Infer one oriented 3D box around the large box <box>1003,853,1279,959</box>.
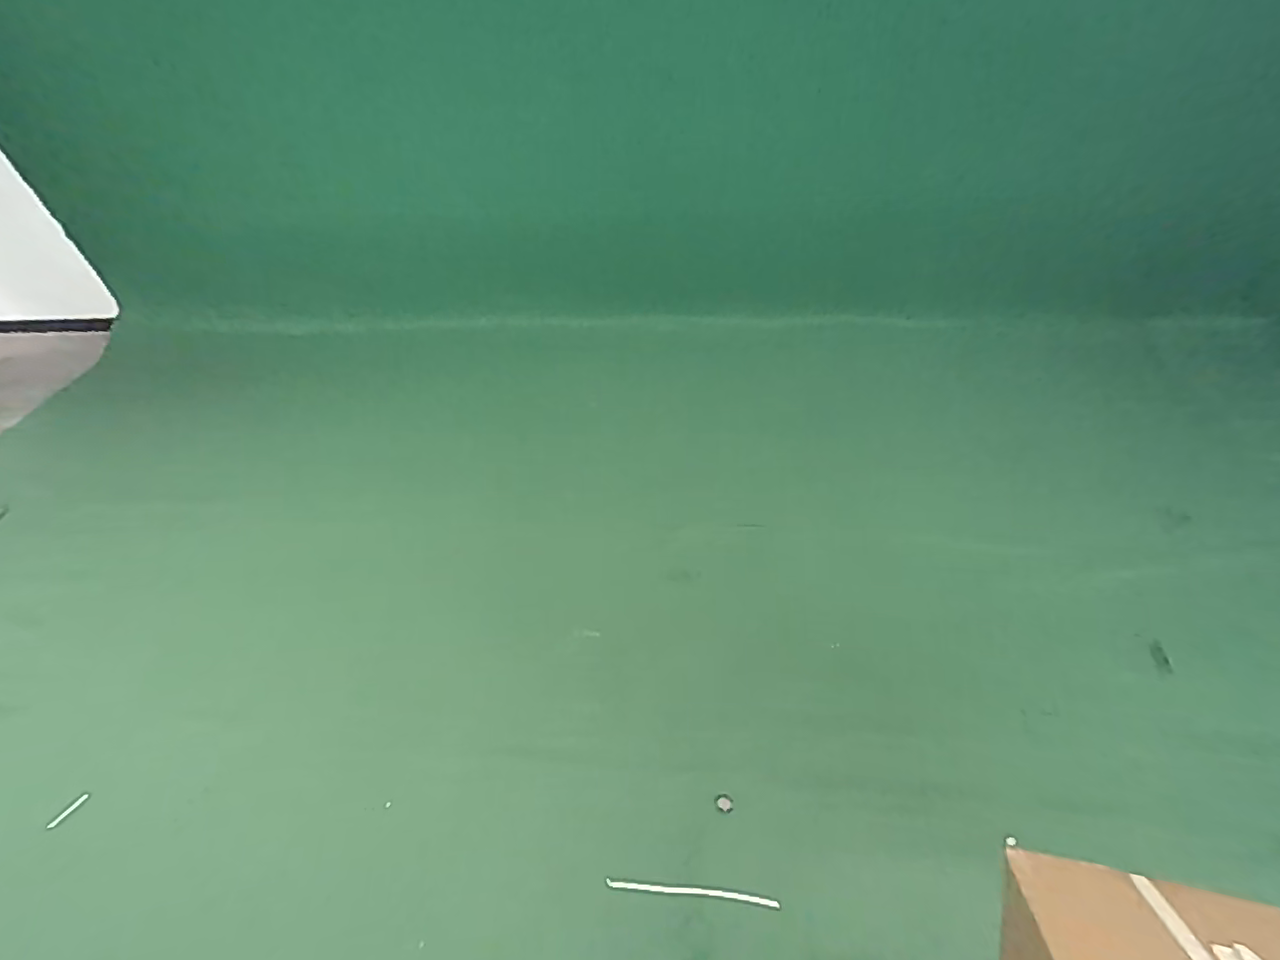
[{"bbox_3d":[0.612,0.703,0.560,0.320,0.408,0.320,3,91,20],"label":"large box"}]
